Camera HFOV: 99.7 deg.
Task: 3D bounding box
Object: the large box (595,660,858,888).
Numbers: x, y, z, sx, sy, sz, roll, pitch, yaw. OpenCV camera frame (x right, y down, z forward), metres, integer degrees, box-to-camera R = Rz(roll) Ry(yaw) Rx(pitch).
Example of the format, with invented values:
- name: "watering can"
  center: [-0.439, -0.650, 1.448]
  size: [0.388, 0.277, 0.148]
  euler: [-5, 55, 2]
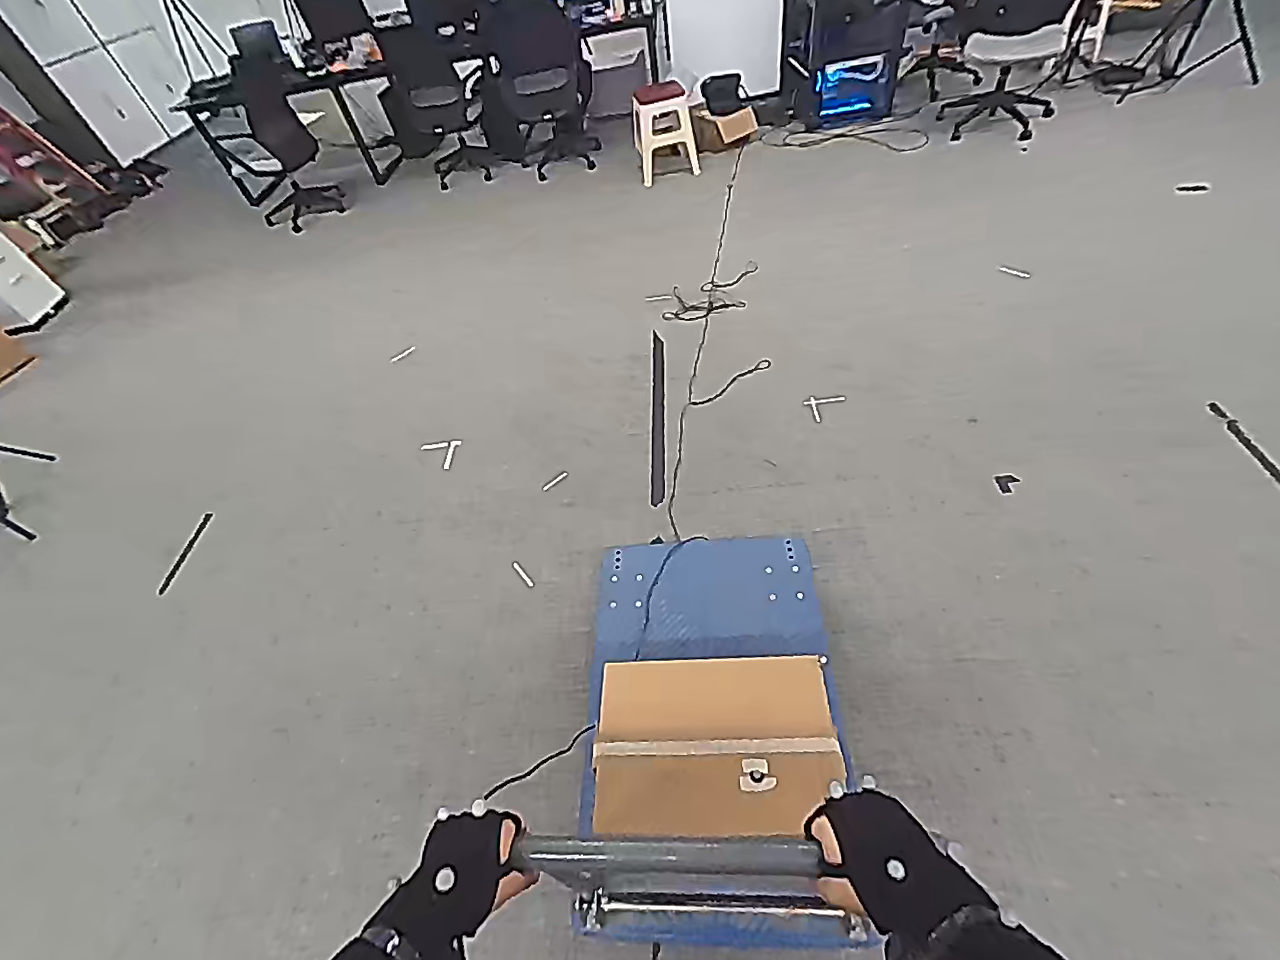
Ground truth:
- name: "large box"
  center: [0.146, 0.559, 1.020]
  size: [0.408, 0.320, 0.320]
  euler: [-4, 48, 7]
